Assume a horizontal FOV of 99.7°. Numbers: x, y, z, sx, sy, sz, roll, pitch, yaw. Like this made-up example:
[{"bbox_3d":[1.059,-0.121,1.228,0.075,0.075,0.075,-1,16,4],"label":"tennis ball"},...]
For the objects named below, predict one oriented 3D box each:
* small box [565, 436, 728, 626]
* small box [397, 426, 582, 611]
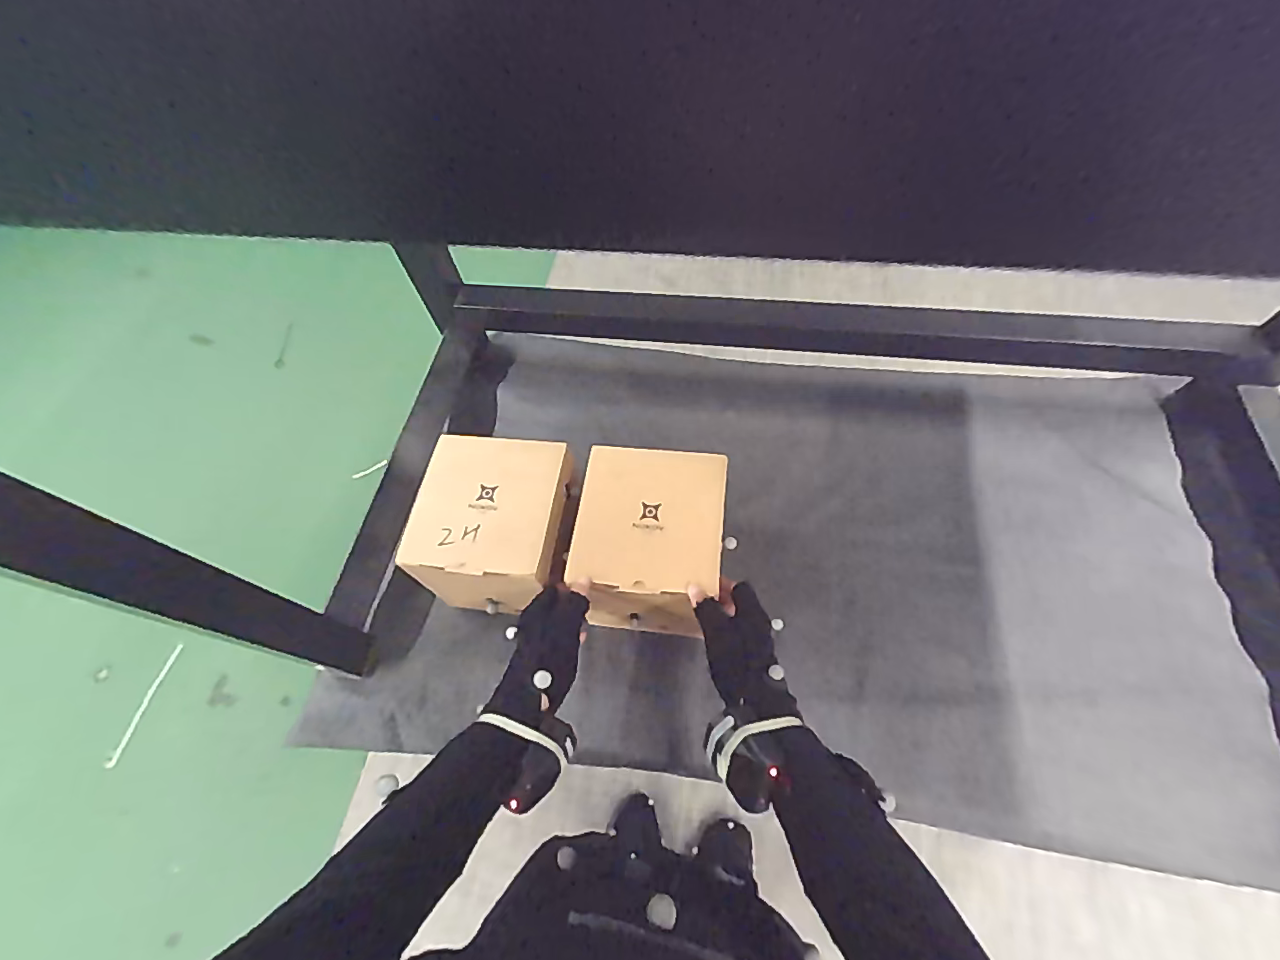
[{"bbox_3d":[0.017,0.067,0.675,0.168,0.176,0.179,4,62,8],"label":"small box"},{"bbox_3d":[-0.173,0.053,0.697,0.168,0.176,0.179,4,61,8],"label":"small box"}]
